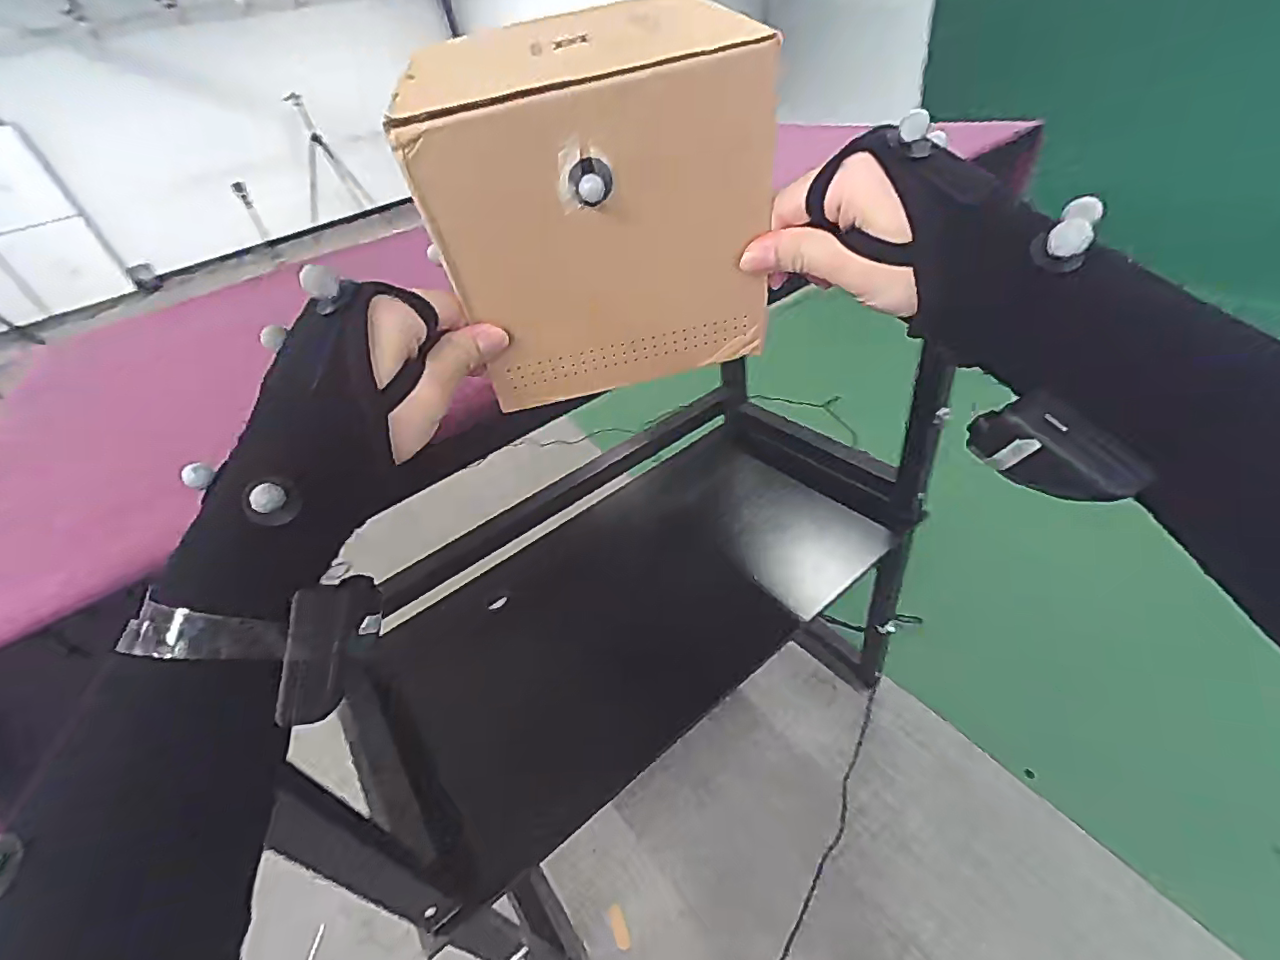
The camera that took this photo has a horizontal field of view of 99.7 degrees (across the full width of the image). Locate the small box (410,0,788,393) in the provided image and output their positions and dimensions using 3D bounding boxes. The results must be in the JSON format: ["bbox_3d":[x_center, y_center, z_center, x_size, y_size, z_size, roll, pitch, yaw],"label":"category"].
[{"bbox_3d":[-0.018,-0.177,0.348,0.179,0.176,0.168,-12,47,-1],"label":"small box"}]
